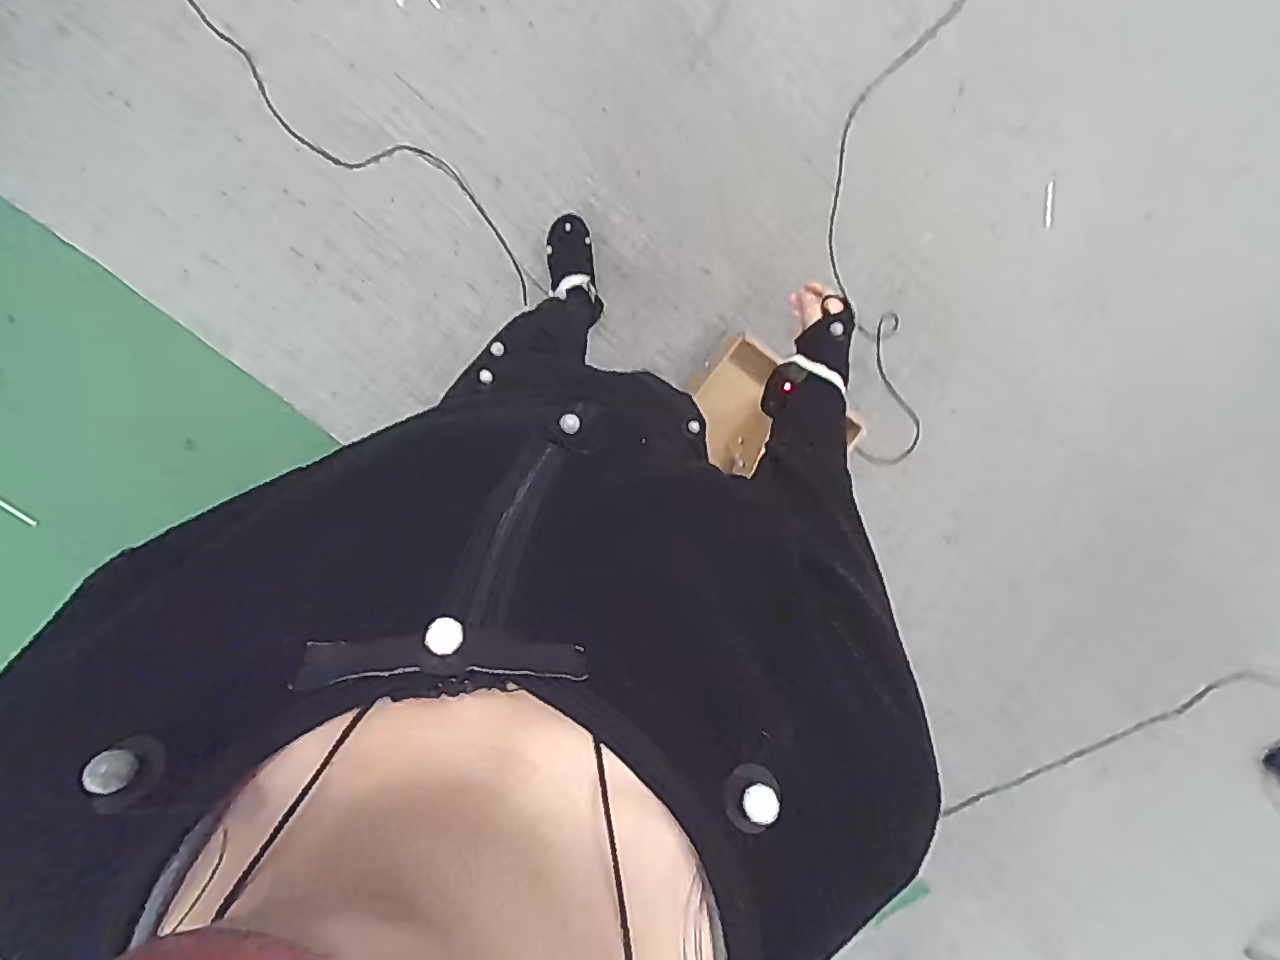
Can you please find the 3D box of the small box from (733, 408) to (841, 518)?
[{"bbox_3d":[0.320,-0.044,1.226,0.168,0.176,0.179,19,108,-5],"label":"small box"}]
